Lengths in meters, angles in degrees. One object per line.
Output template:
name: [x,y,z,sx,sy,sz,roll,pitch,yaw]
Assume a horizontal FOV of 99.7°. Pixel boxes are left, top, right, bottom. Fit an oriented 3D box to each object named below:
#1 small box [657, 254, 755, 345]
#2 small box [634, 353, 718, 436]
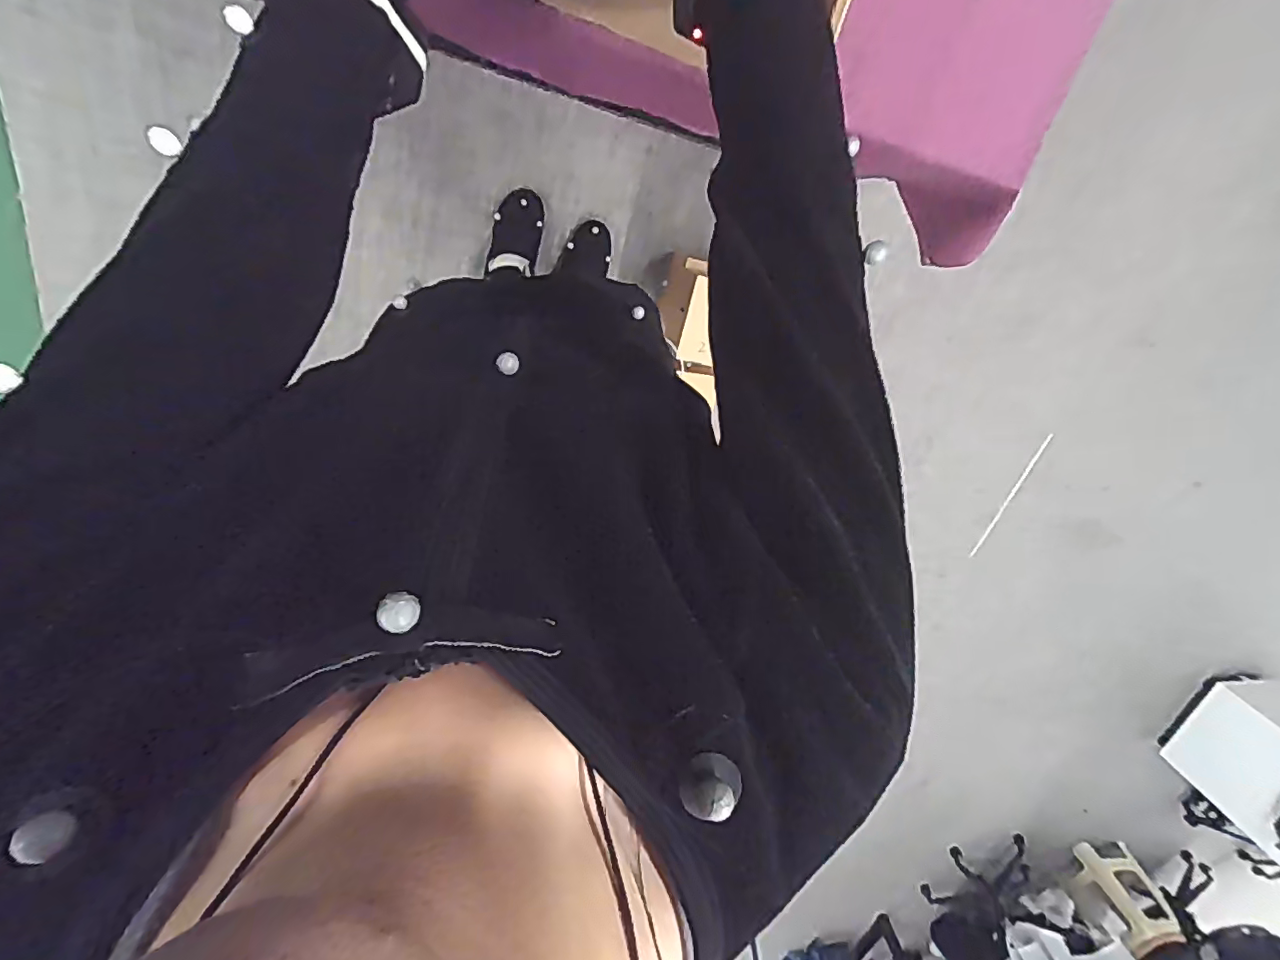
small box: [0.154,-0.450,1.335,0.179,0.176,0.168,10,116,-13]
small box: [0.088,-0.232,1.441,0.179,0.176,0.168,6,116,-12]
